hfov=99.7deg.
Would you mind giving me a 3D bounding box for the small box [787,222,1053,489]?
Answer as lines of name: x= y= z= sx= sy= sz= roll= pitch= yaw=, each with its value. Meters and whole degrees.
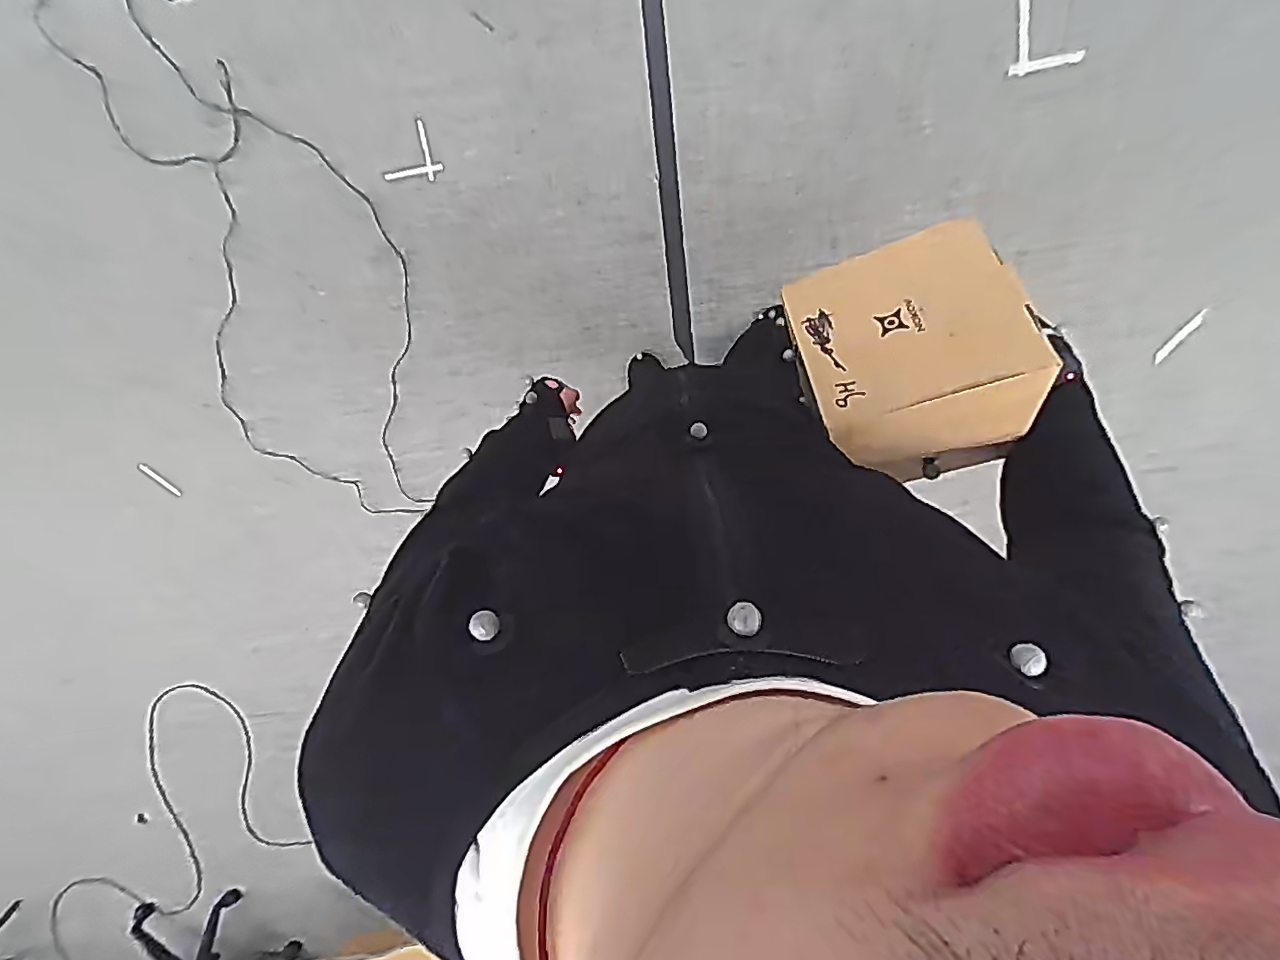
small box: x=0.261 y=-0.110 z=0.545 sx=0.179 sy=0.176 sz=0.168 roll=-16 pitch=62 yaw=16
